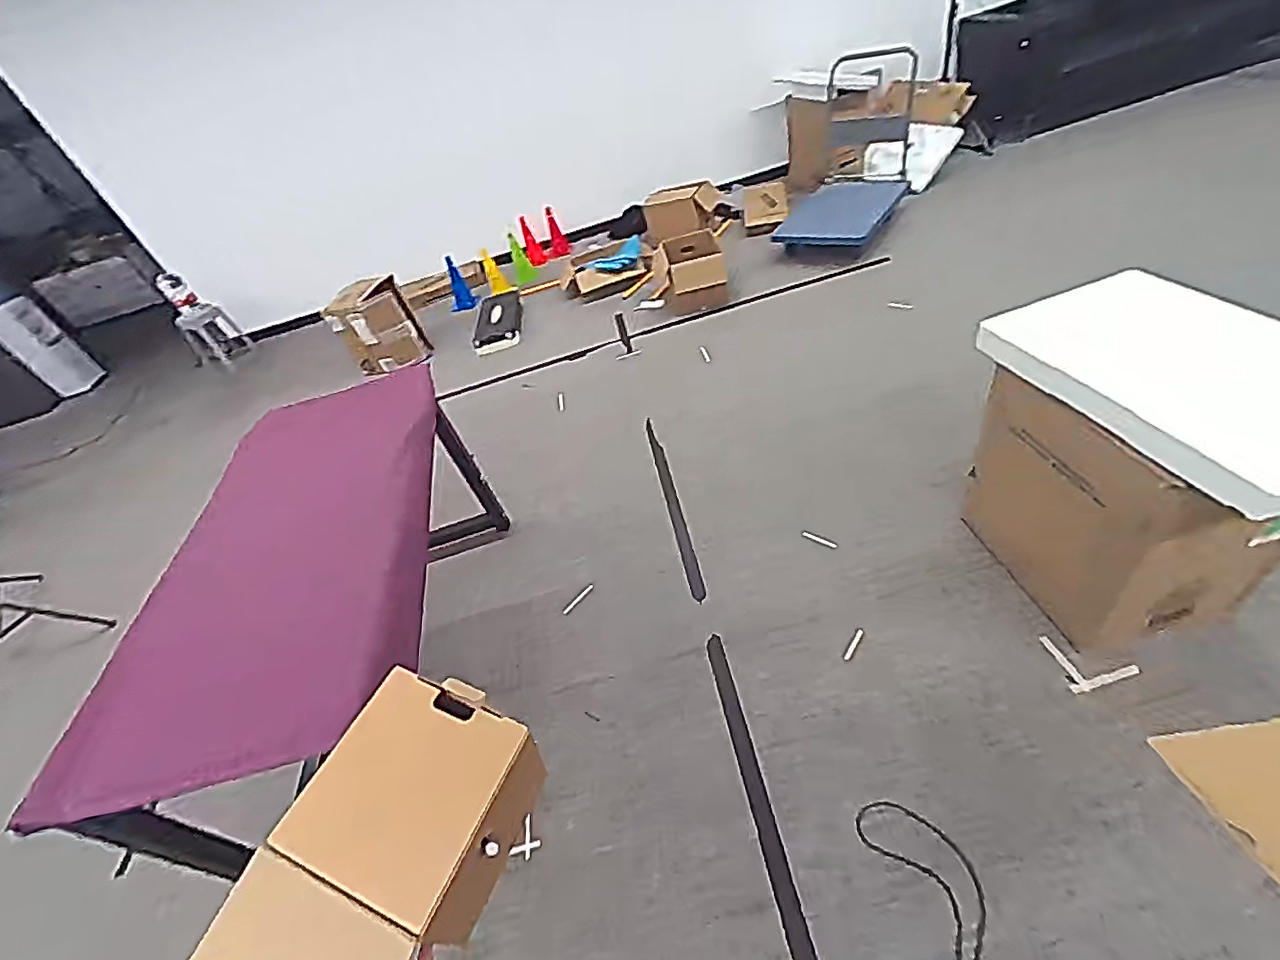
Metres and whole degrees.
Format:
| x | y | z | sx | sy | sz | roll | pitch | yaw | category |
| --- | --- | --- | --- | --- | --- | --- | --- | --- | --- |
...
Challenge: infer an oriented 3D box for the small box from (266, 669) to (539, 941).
| x | y | z | sx | sy | sz | roll | pitch | yaw | category |
| --- | --- | --- | --- | --- | --- | --- | --- | --- | --- |
| -0.219 | 0.336 | 0.559 | 0.168 | 0.176 | 0.179 | 18 | 50 | 14 | small box |
